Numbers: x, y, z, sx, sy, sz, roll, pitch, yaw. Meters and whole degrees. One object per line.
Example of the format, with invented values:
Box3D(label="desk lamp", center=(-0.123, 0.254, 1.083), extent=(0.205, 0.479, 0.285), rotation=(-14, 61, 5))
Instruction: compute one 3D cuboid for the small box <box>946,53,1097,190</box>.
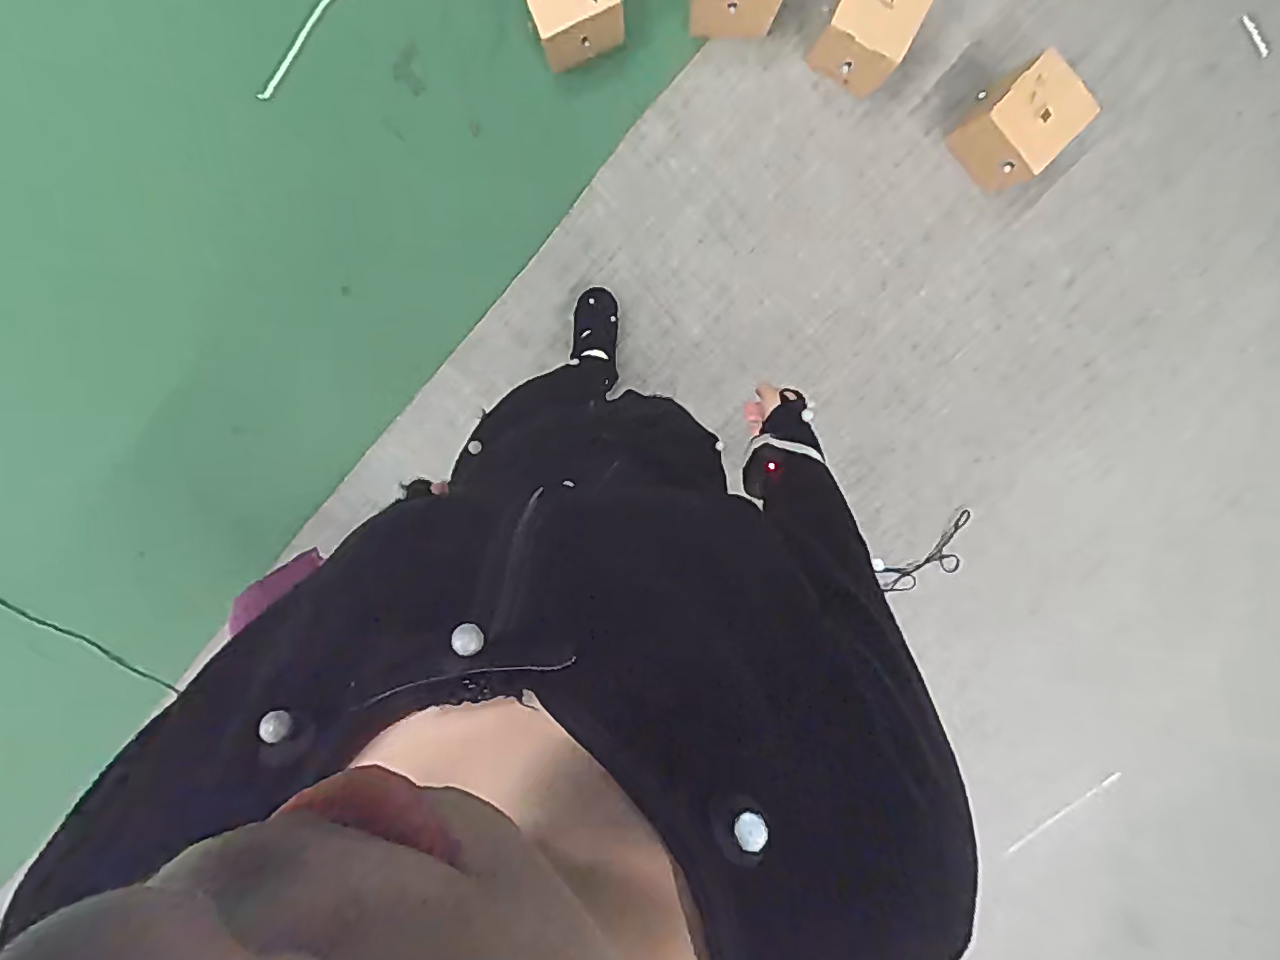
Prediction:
Box3D(label="small box", center=(0.833, -0.774, 1.197), extent=(0.179, 0.176, 0.168), rotation=(40, 102, -12))

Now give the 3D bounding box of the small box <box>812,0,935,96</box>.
Box3D(label="small box", center=(0.485, -0.957, 1.136), extent=(0.168, 0.176, 0.179), rotation=(24, 105, -8))

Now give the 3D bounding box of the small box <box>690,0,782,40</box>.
Box3D(label="small box", center=(0.197, -1.037, 1.107), extent=(0.179, 0.176, 0.168), rotation=(-1, 107, -2))
